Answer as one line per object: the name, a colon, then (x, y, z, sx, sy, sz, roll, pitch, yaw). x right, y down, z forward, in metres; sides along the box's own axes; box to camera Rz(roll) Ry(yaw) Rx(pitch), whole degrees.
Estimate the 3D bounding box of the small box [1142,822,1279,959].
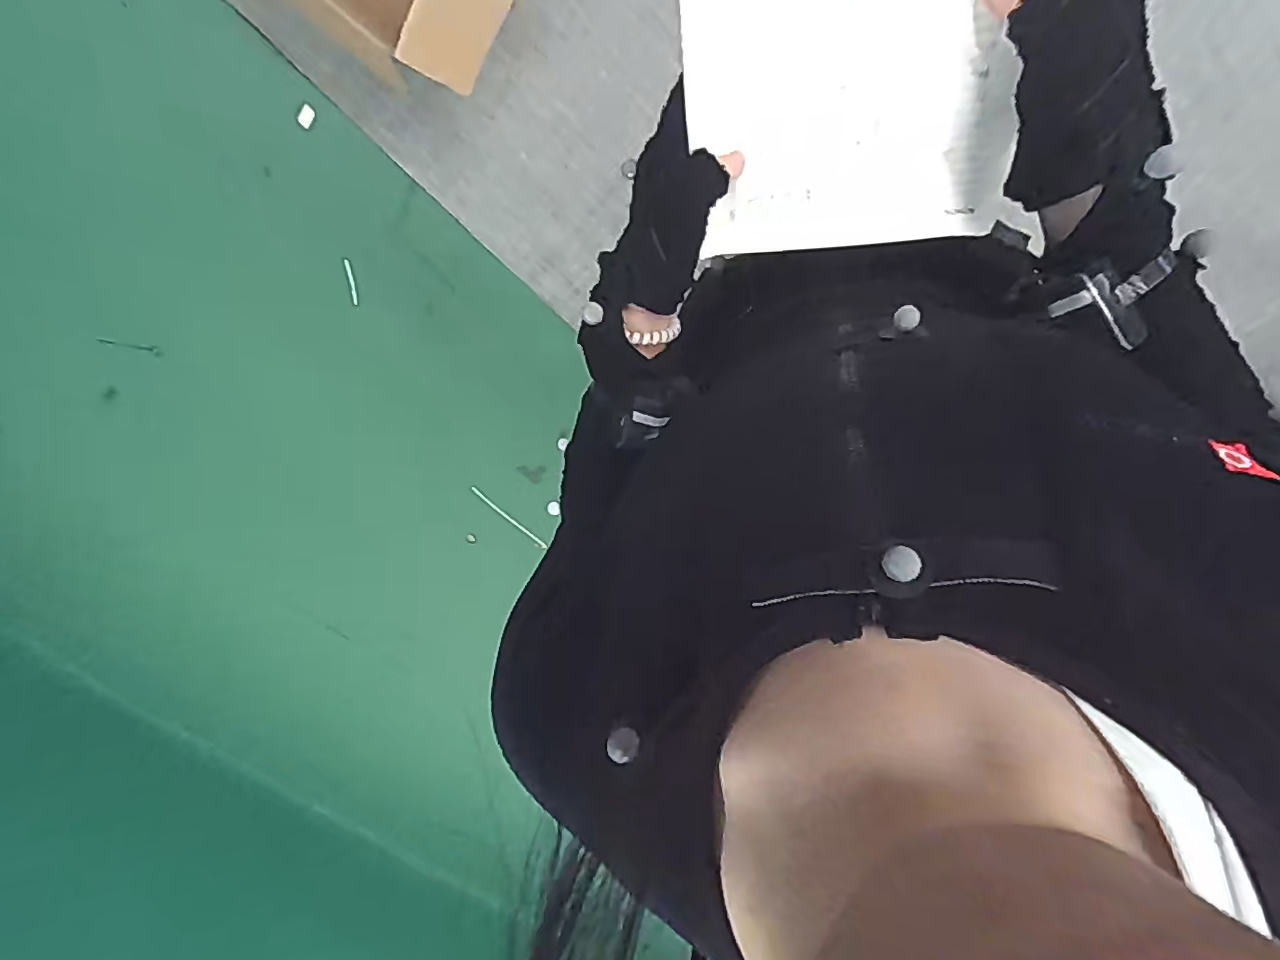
small box: (1.073, 0.756, 0.970, 0.168, 0.176, 0.179, -38, 107, 26)
